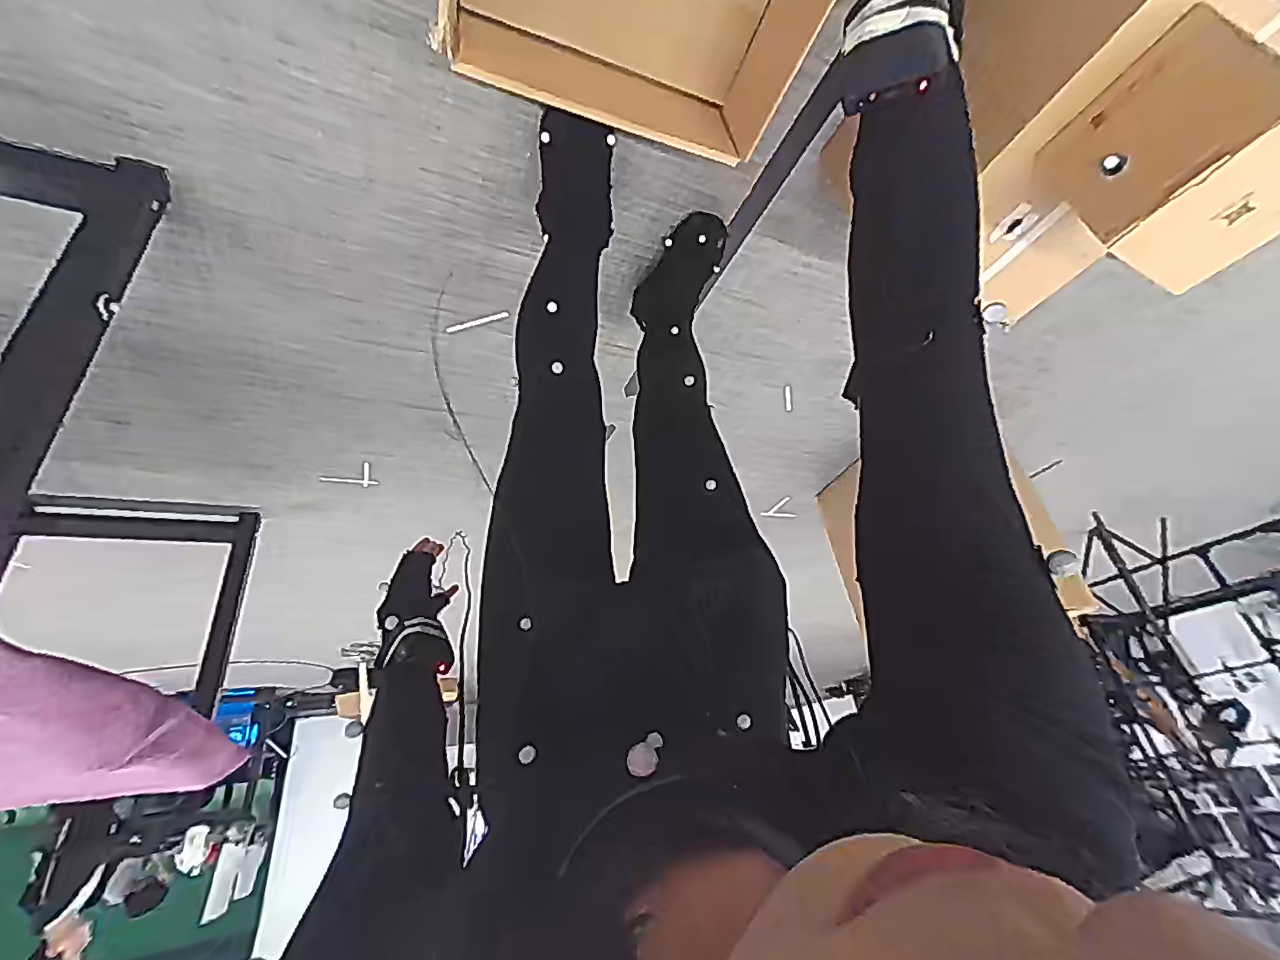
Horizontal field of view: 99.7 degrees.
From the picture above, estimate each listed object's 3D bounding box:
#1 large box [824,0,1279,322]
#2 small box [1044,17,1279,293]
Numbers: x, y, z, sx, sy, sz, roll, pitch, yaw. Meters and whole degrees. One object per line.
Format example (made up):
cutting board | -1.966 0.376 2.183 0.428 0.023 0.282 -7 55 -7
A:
large box | 0.544 -0.506 0.766 0.320 0.320 0.408 7 148 -24
small box | 0.586 -0.339 0.575 0.179 0.176 0.168 8 148 -27
